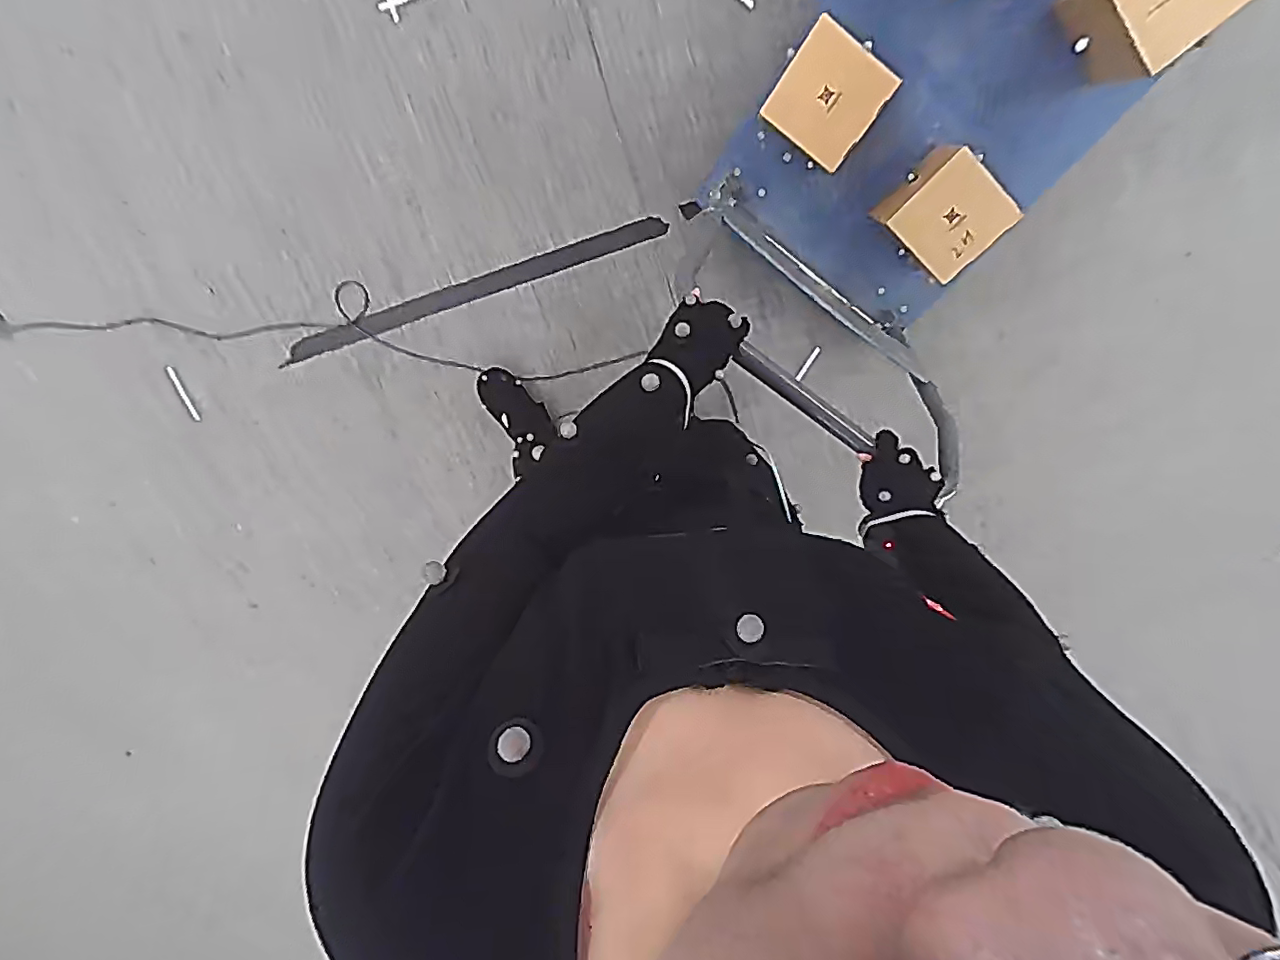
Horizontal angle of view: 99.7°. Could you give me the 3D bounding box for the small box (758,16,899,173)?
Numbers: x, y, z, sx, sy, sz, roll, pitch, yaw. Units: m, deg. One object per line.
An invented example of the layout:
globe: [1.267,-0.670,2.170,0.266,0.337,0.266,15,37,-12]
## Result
small box: [0.336,-0.702,1.005,0.179,0.176,0.168,32,121,-11]

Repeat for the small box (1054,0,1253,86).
small box: [0.826,-0.778,0.867,0.179,0.176,0.168,-37,108,28]

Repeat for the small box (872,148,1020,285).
small box: [0.590,-0.519,1.068,0.179,0.176,0.168,39,120,-13]
